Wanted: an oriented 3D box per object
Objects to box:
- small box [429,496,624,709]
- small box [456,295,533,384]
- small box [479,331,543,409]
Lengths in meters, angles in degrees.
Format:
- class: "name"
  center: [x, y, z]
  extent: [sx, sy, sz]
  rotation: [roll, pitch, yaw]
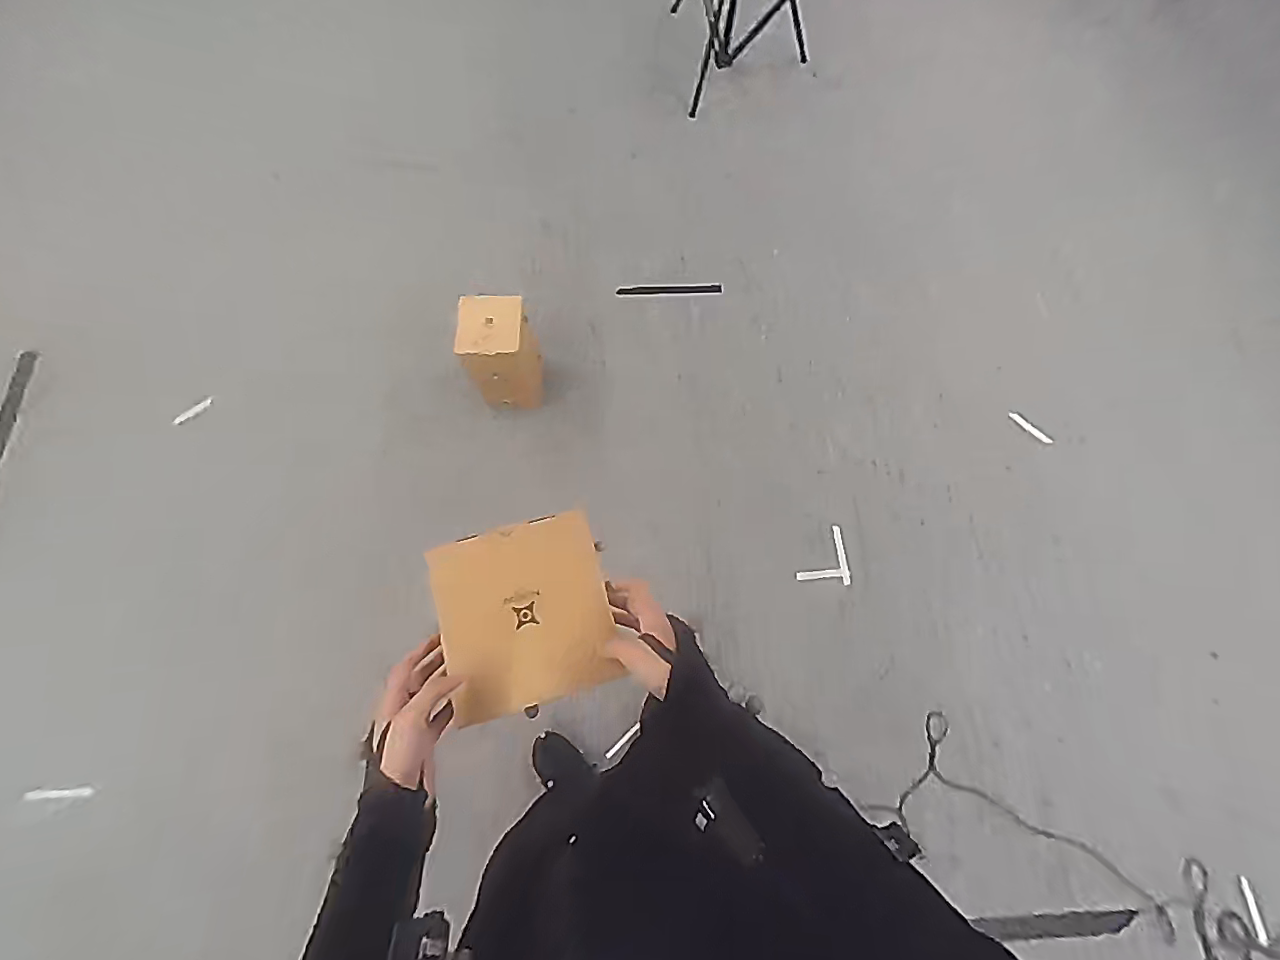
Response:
- class: "small box"
  center: [-0.119, 0.138, 0.605]
  extent: [0.168, 0.176, 0.179]
  rotation: [-13, 73, -10]
- class: "small box"
  center: [-0.391, -0.380, 1.478]
  extent: [0.168, 0.176, 0.179]
  rotation: [-1, 72, -1]
- class: "small box"
  center: [-0.389, -0.331, 1.635]
  extent: [0.168, 0.176, 0.179]
  rotation: [0, 71, -1]
